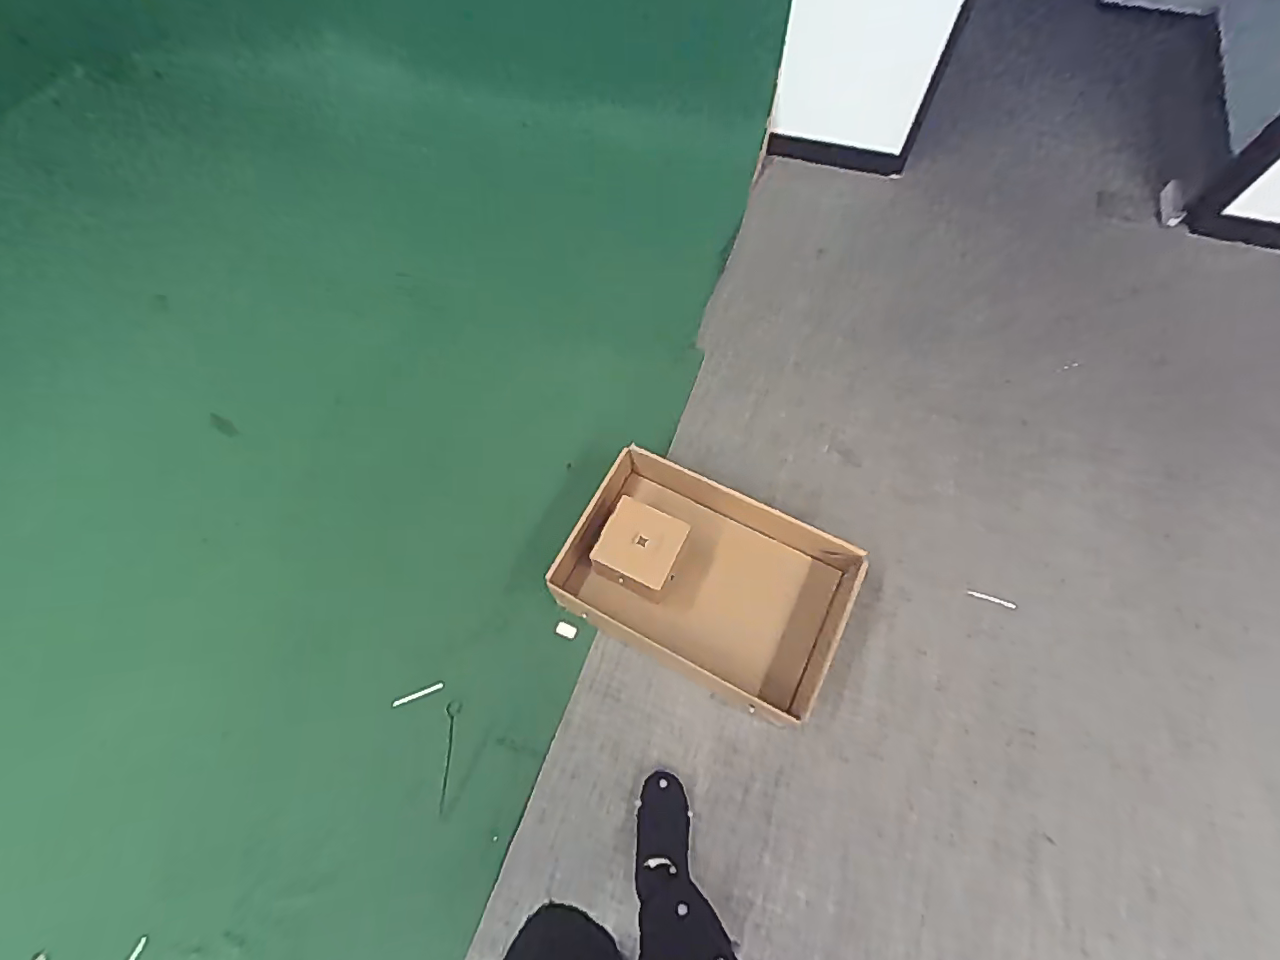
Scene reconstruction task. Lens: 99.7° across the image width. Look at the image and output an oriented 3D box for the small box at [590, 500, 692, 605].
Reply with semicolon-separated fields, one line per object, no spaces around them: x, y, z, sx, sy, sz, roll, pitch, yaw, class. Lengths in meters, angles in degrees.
0.005;0.177;1.267;0.179;0.176;0.168;25;70;12;small box
